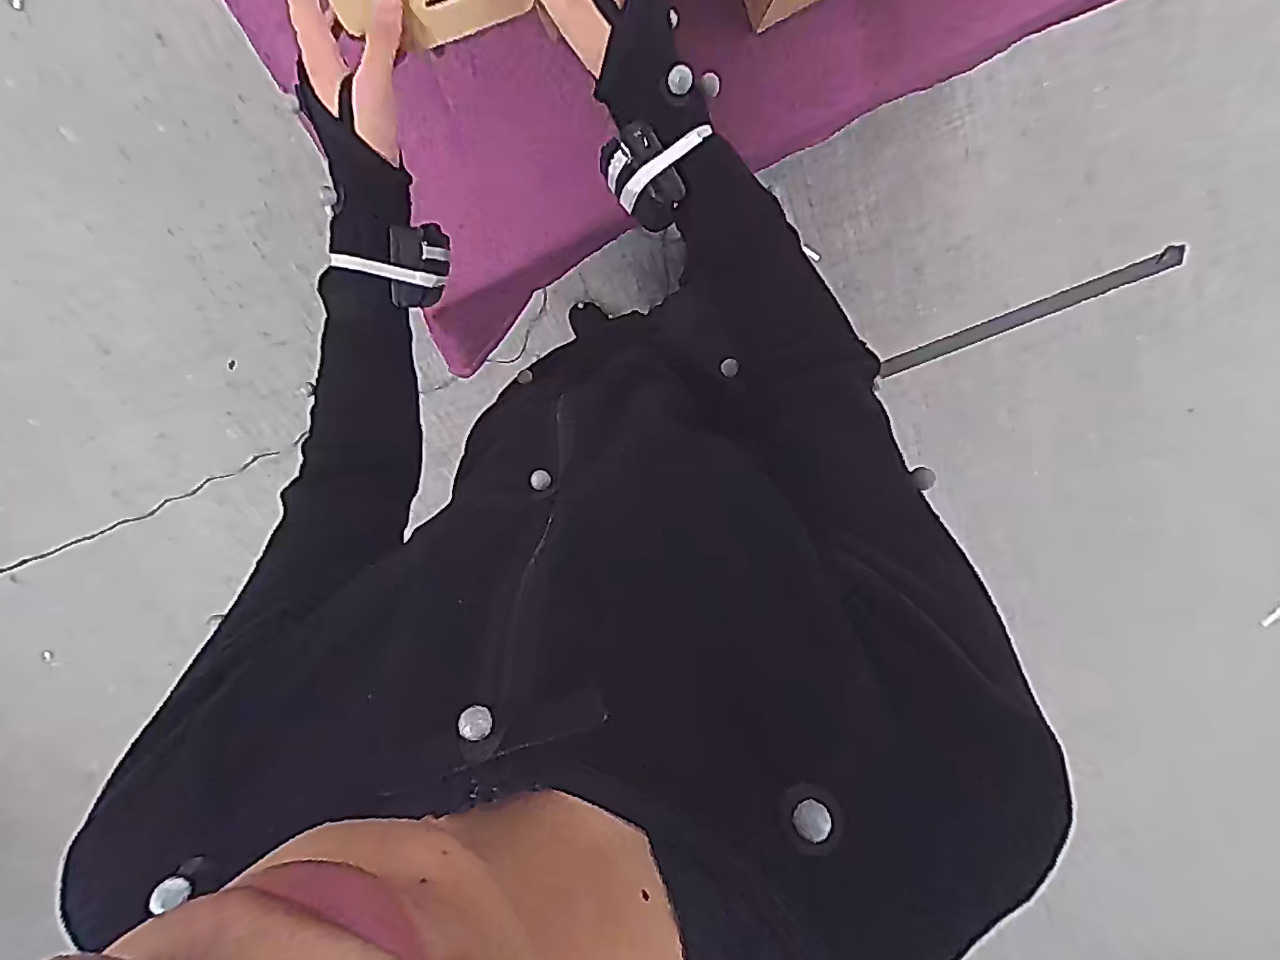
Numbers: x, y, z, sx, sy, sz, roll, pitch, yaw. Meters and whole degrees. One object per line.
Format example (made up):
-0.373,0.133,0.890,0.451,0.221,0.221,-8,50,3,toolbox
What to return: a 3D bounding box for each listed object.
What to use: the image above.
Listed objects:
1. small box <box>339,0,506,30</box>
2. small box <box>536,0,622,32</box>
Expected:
-0.147,-0.441,0.371,0.168,0.176,0.179,-16,126,6,small box
-0.065,-0.608,0.538,0.168,0.176,0.179,-22,112,9,small box
